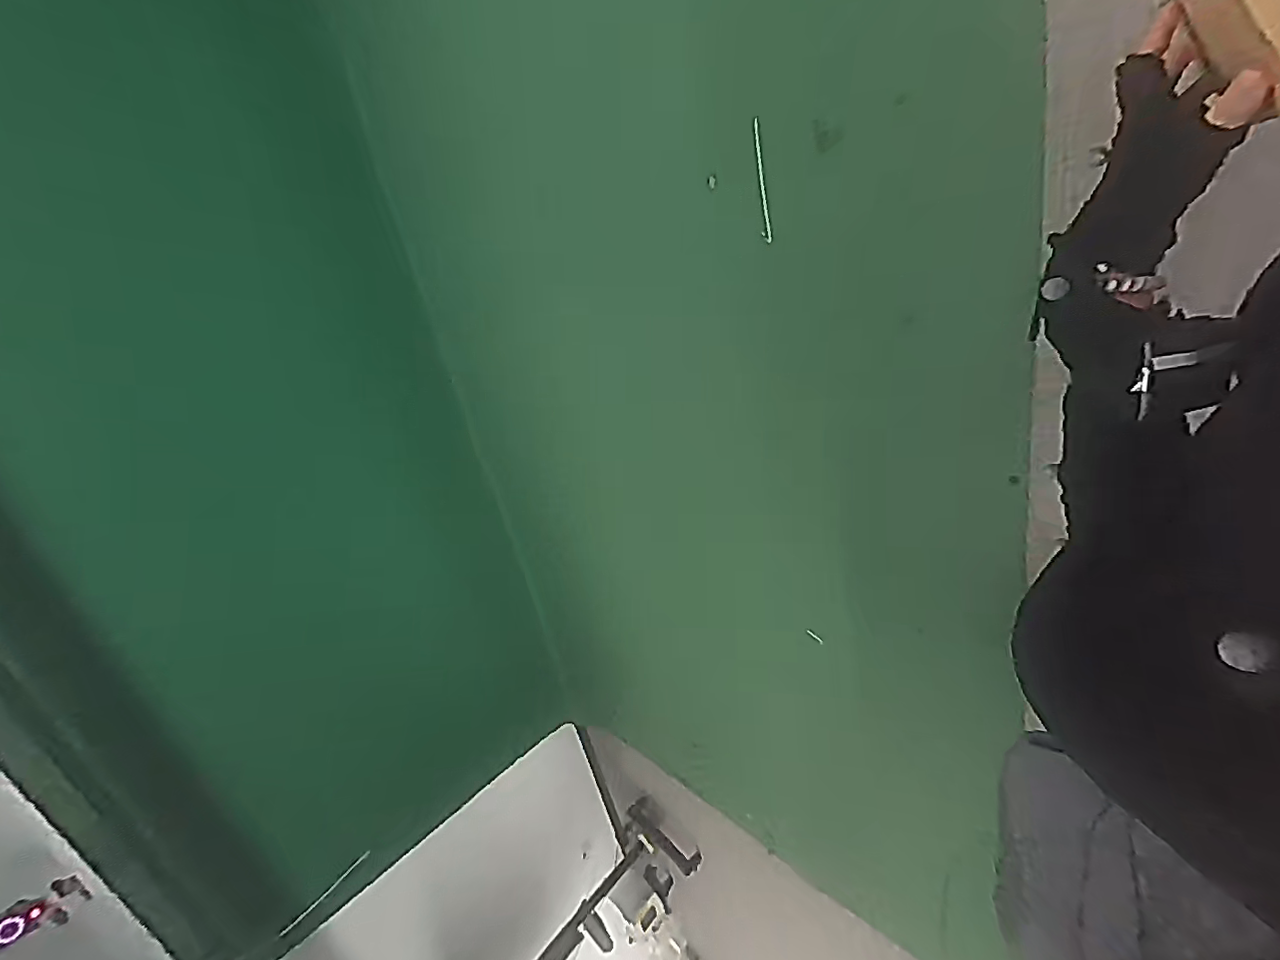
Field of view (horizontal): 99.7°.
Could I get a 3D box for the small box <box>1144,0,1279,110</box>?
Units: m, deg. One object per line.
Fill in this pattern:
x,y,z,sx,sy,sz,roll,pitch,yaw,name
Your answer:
0.364,-0.317,0.261,0.168,0.176,0.179,-34,90,44,small box
